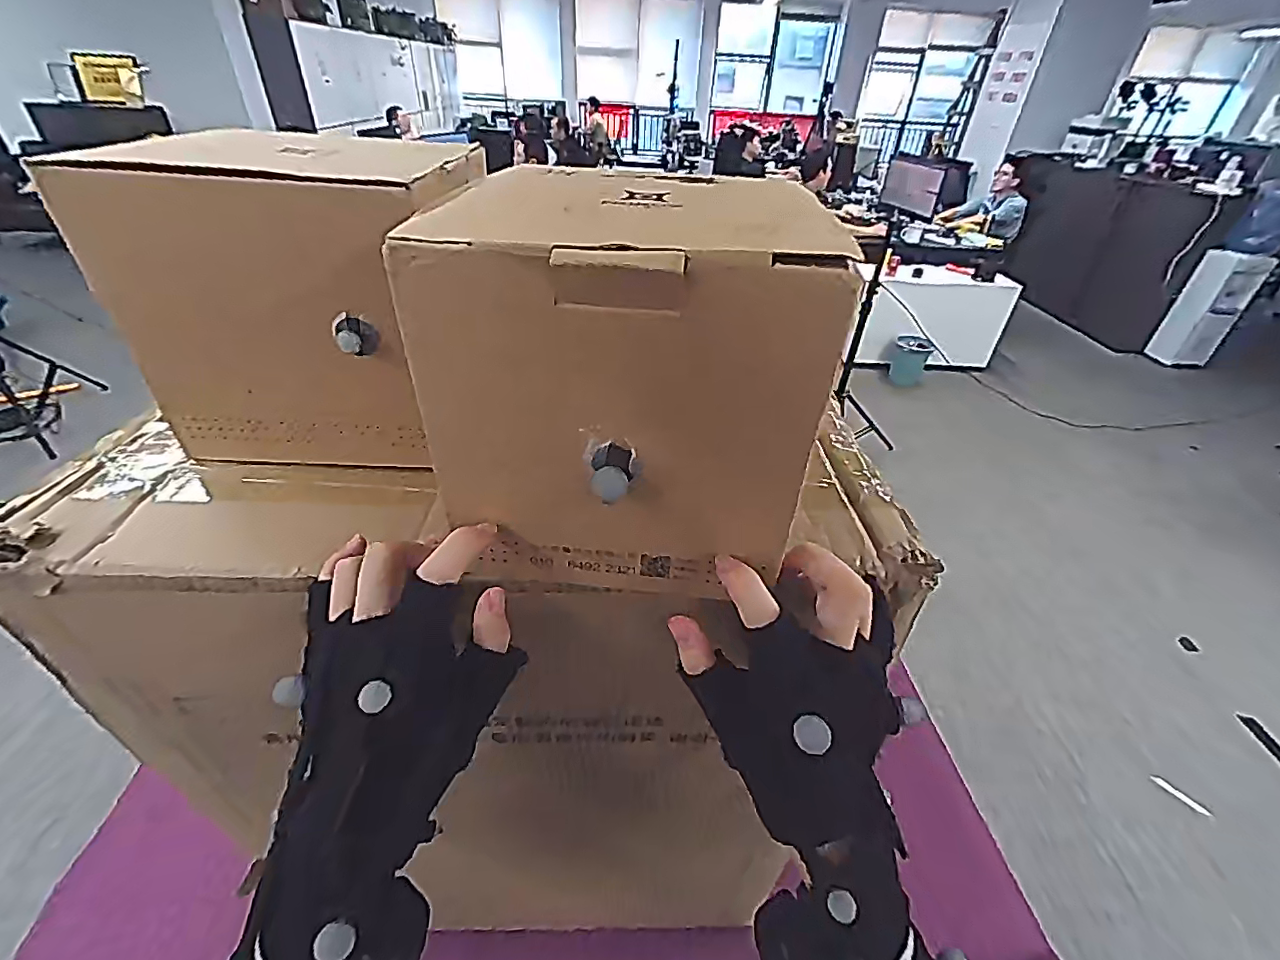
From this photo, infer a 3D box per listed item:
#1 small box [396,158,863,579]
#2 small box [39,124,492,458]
[{"bbox_3d":[0.002,-0.067,0.297,0.168,0.176,0.179,5,38,4],"label":"small box"},{"bbox_3d":[-0.192,-0.126,0.359,0.179,0.176,0.168,1,36,-3],"label":"small box"}]
